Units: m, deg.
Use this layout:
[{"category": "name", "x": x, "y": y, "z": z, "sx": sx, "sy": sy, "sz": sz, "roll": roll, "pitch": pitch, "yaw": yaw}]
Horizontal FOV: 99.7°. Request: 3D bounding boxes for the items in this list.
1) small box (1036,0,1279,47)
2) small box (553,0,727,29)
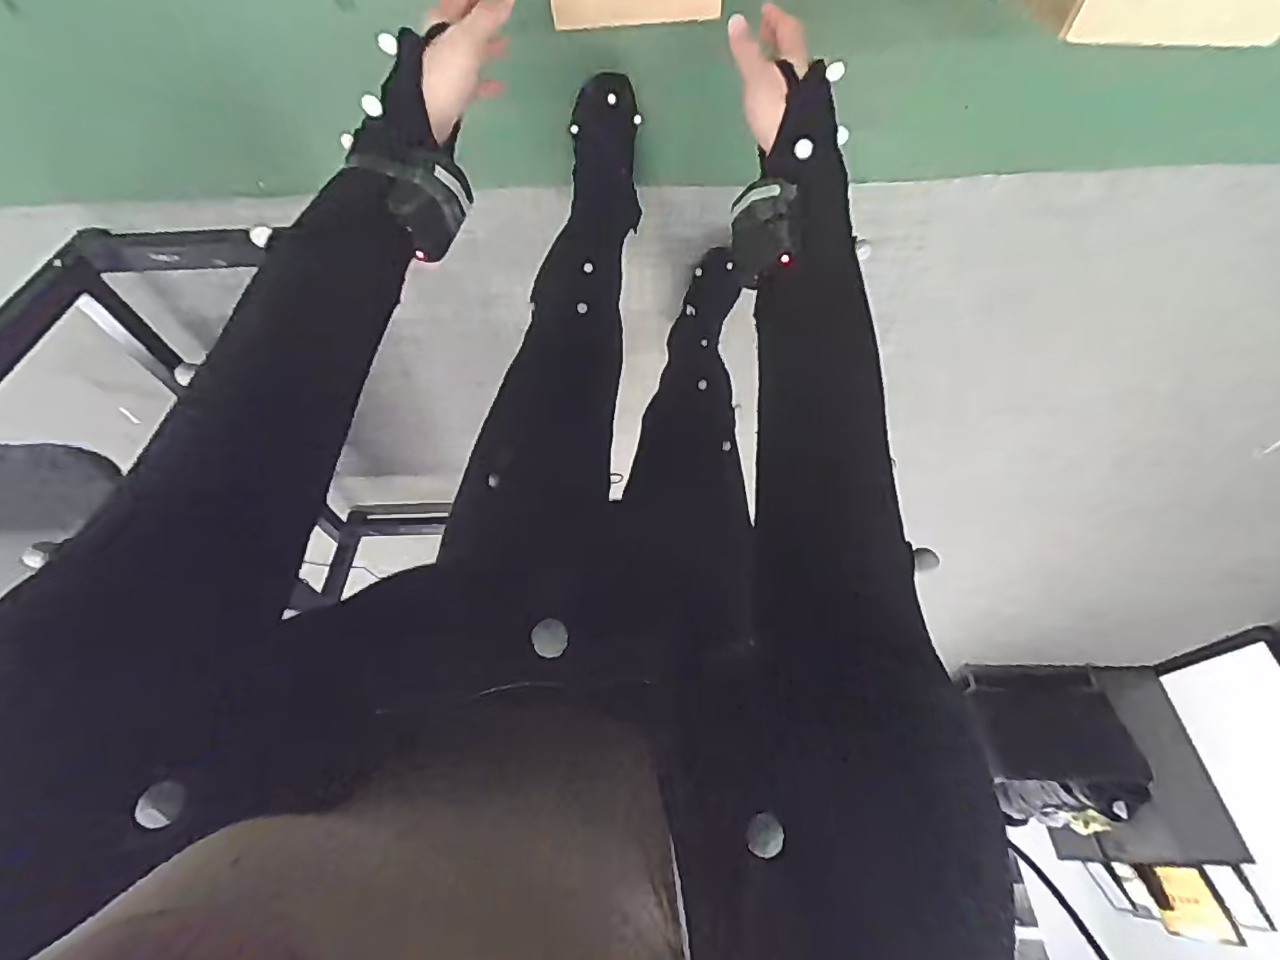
[{"category": "small box", "x": 0.427, "y": -0.462, "z": 0.410, "sx": 0.179, "sy": 0.176, "sz": 0.168, "roll": 1, "pitch": 146, "yaw": 0}, {"category": "small box", "x": -0.004, "y": -0.580, "z": 0.531, "sx": 0.179, "sy": 0.176, "sz": 0.168, "roll": -1, "pitch": 146, "yaw": 4}]
